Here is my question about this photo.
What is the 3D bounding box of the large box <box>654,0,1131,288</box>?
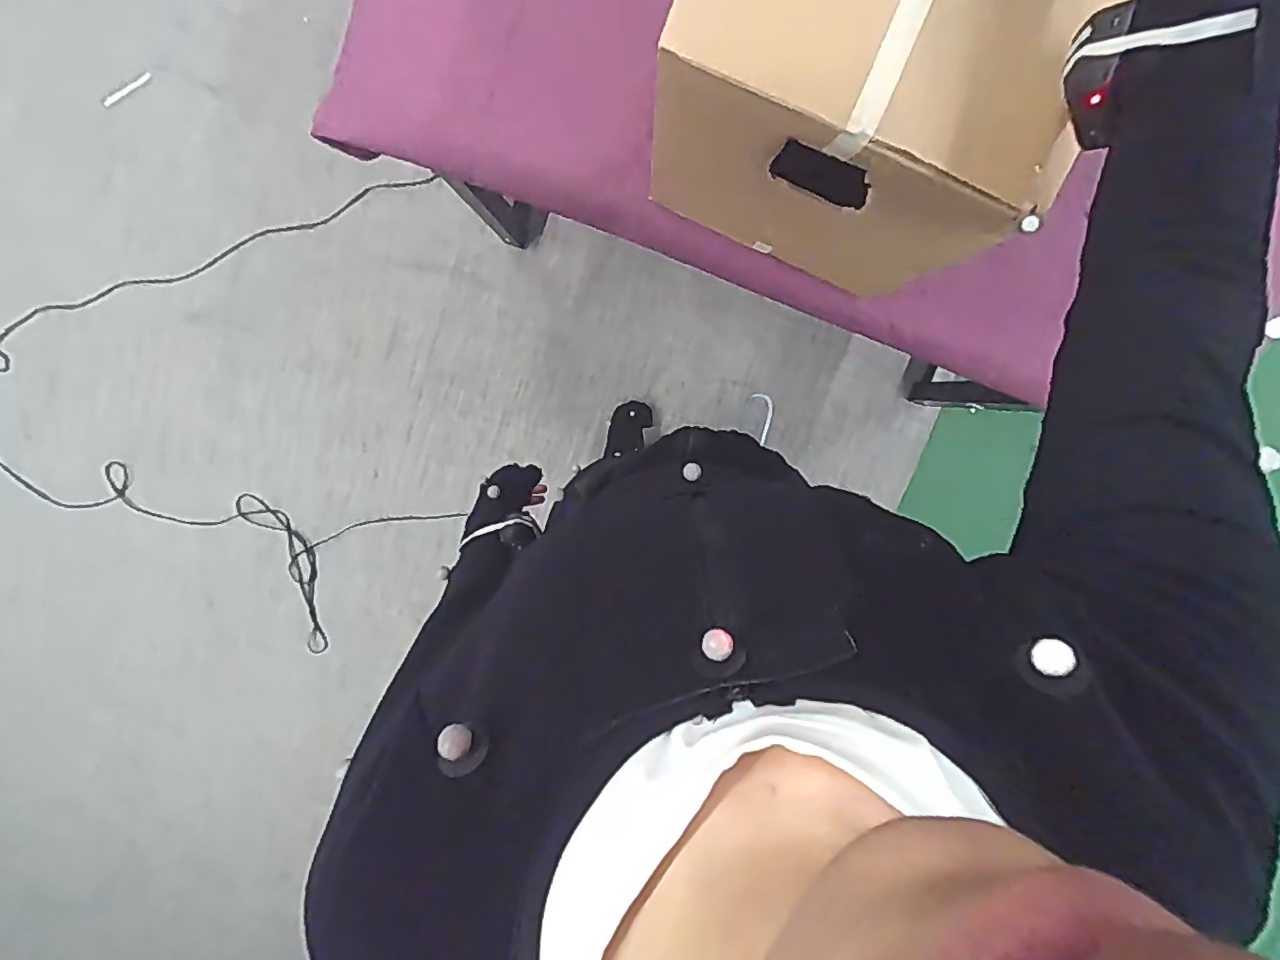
[{"bbox_3d":[0.230,-0.462,0.528,0.320,0.320,0.408,23,99,-3],"label":"large box"}]
